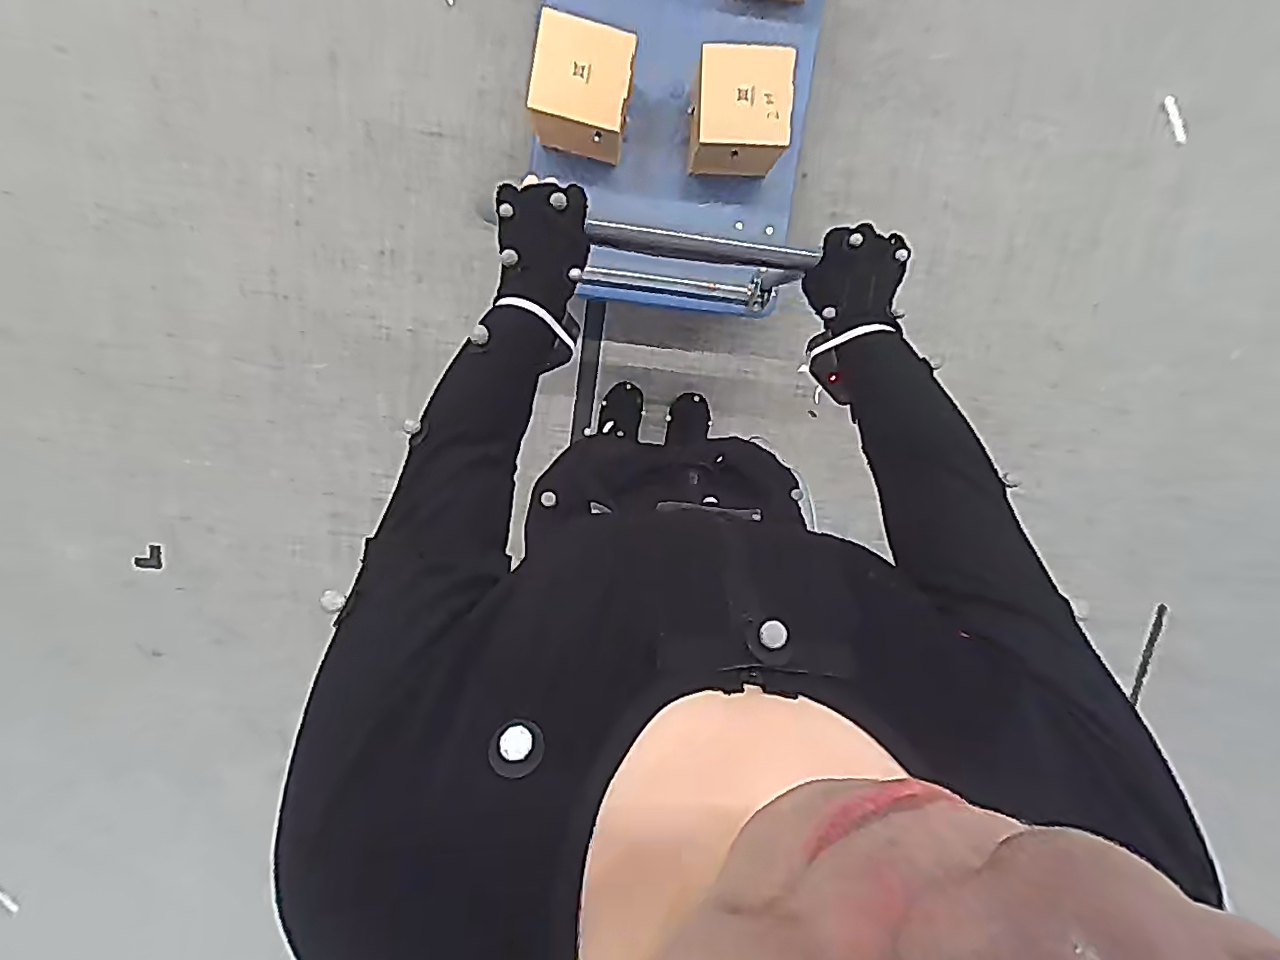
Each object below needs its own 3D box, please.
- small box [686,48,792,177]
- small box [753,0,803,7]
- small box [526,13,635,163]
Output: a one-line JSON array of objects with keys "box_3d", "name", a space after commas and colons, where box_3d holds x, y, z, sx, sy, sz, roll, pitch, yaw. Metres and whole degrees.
[{"box_3d": [0.189, -0.727, 1.089, 0.179, 0.176, 0.168, 1, 102, -3], "name": "small box"}, {"box_3d": [0.268, -1.057, 1.023, 0.168, 0.176, 0.179, 5, 103, -4], "name": "small box"}, {"box_3d": [-0.116, -0.757, 1.066, 0.179, 0.176, 0.168, 11, 101, -7], "name": "small box"}]
